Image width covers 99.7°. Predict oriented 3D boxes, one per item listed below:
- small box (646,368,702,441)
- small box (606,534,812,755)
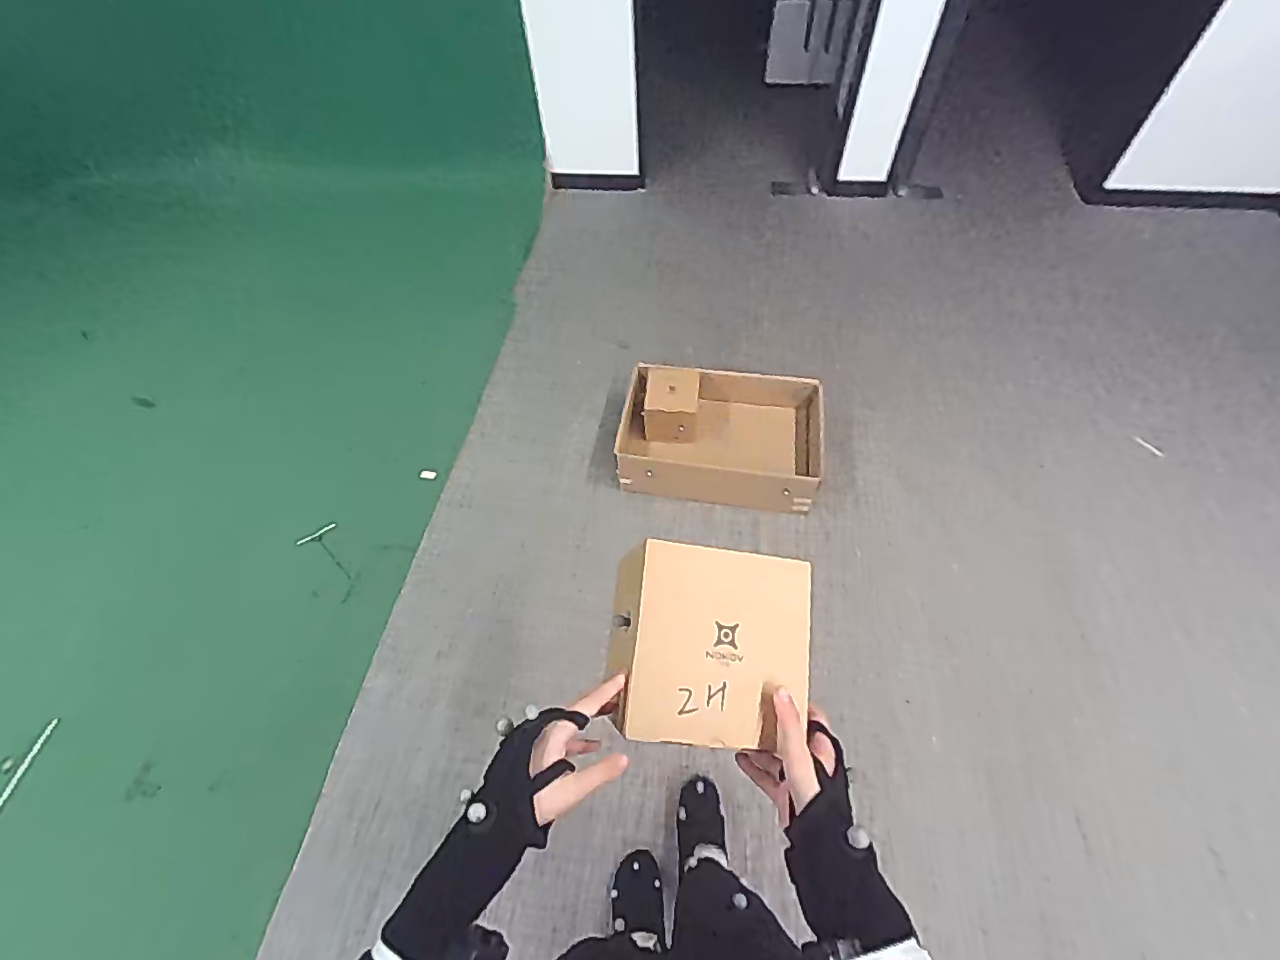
[{"bbox_3d":[0.115,-0.243,1.768,0.168,0.176,0.179,4,57,6],"label":"small box"},{"bbox_3d":[0.061,0.164,0.562,0.168,0.176,0.179,9,76,-7],"label":"small box"}]
